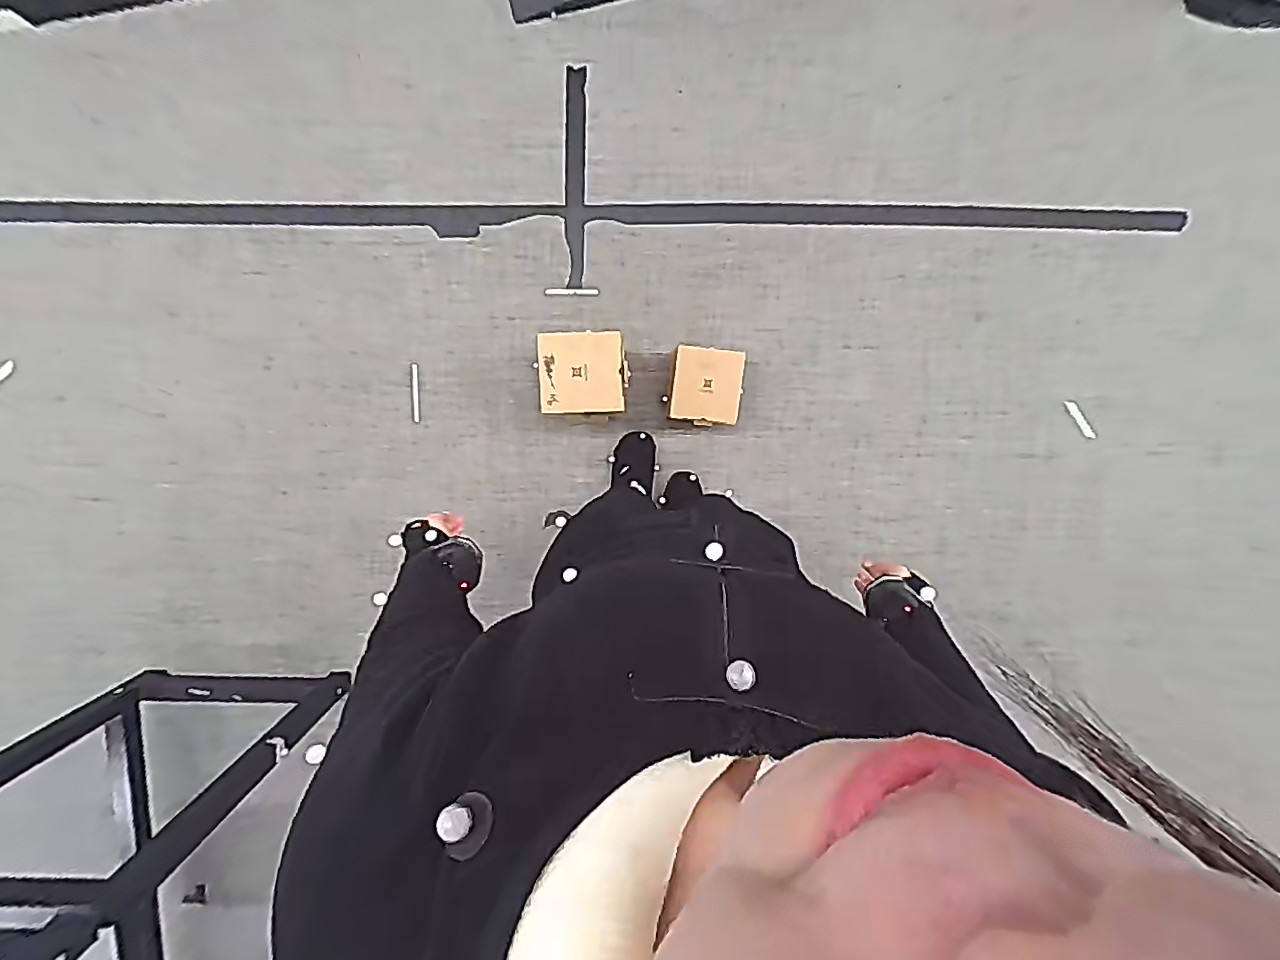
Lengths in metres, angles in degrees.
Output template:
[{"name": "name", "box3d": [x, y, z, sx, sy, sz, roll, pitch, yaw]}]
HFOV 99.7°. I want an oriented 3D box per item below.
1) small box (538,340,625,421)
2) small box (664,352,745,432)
[{"name": "small box", "box3d": [-0.126, -0.216, 1.190, 0.179, 0.176, 0.168, -2, 97, -3]}, {"name": "small box", "box3d": [0.155, -0.220, 1.368, 0.168, 0.176, 0.179, 6, 97, -4]}]
